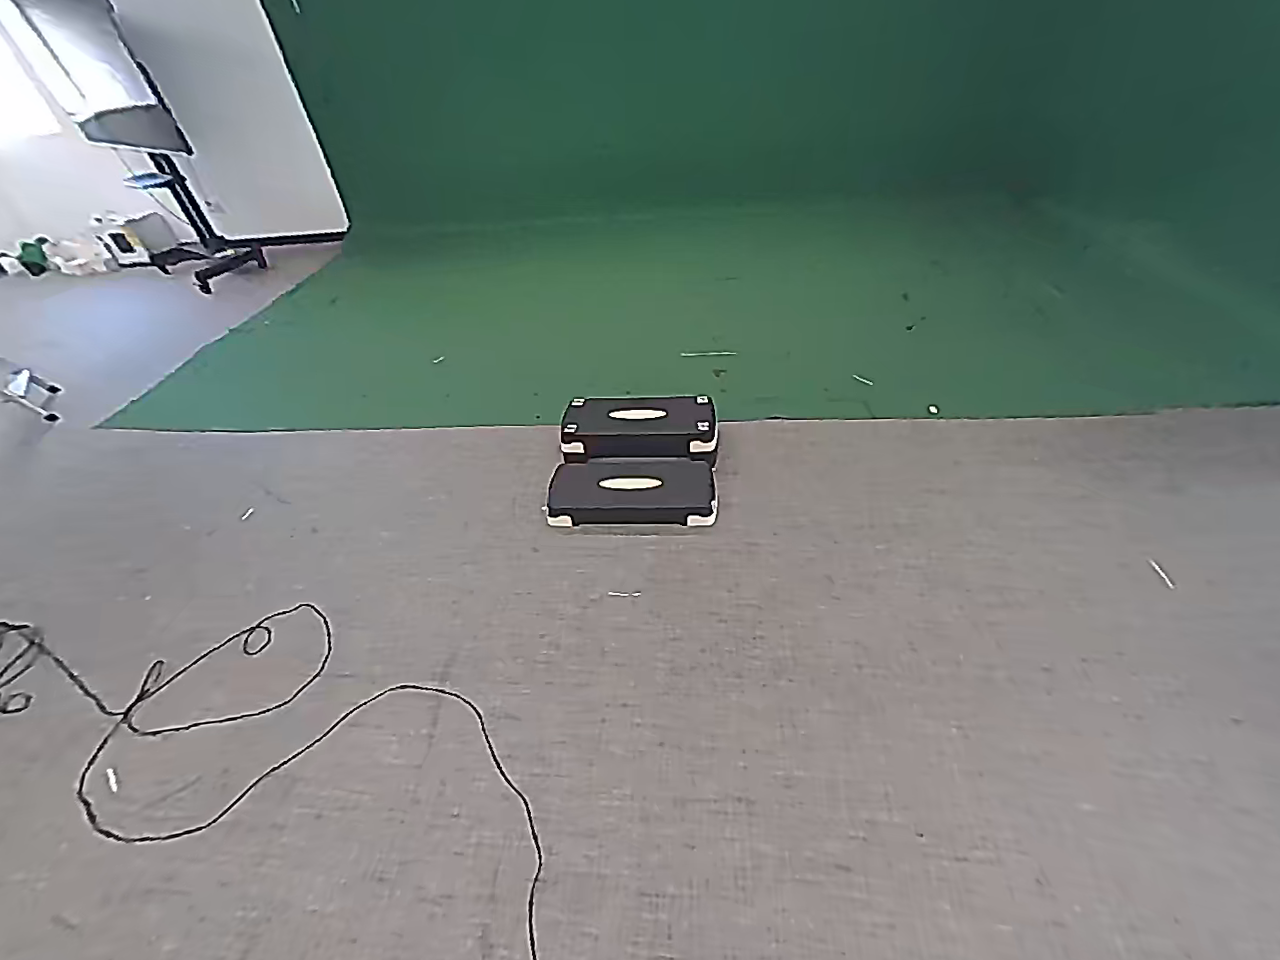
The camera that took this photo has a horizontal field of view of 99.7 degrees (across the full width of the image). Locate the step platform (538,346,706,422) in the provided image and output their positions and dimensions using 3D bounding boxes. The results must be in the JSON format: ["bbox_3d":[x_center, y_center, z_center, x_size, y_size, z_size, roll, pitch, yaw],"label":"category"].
[{"bbox_3d":[-0.068,-0.402,2.273,0.684,0.204,0.286,-1,43,7],"label":"step platform"}]
